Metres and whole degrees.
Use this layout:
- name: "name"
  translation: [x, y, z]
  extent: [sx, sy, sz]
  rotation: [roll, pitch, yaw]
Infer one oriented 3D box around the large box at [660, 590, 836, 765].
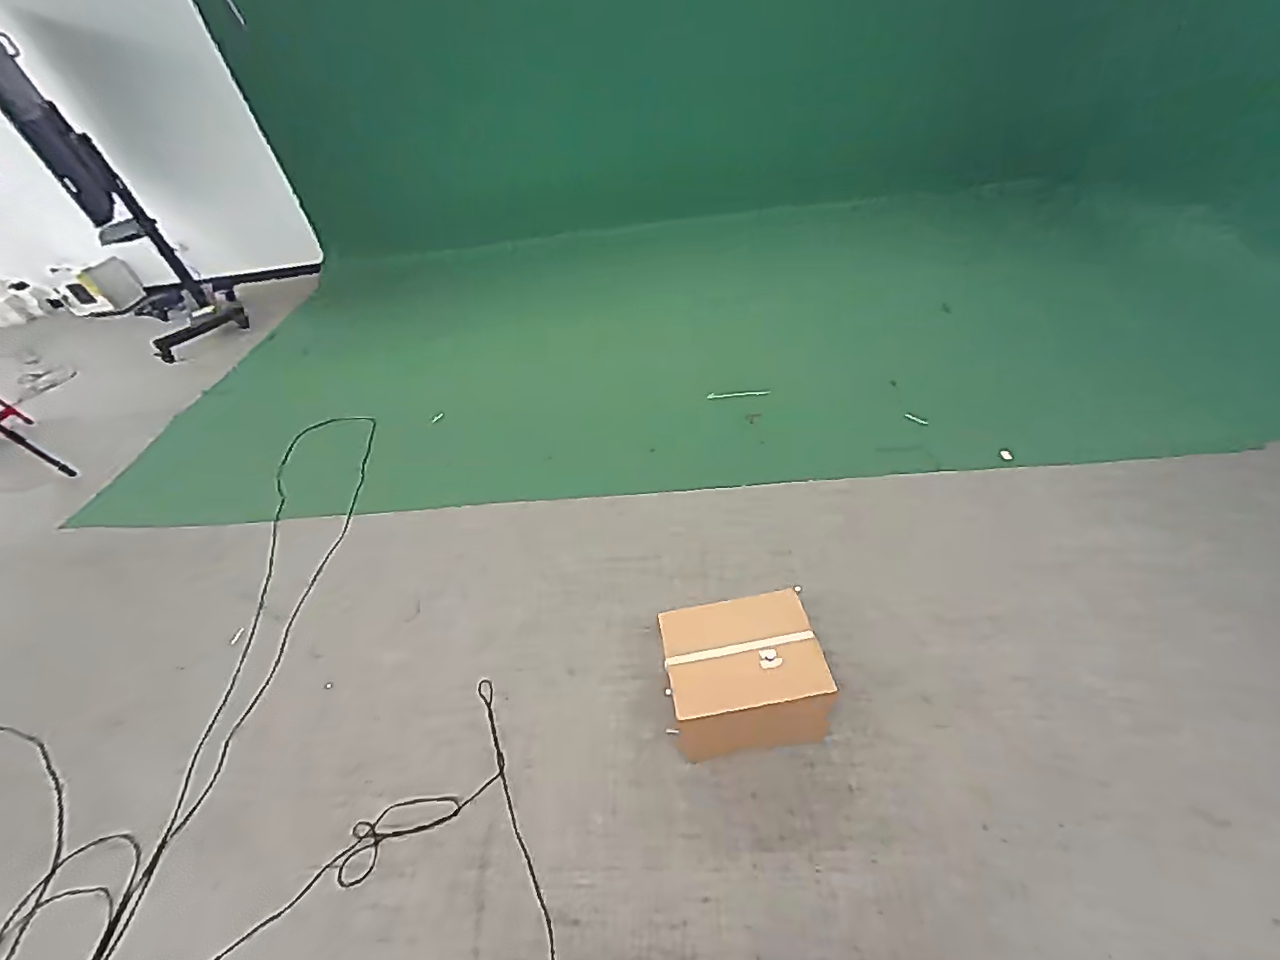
- name: "large box"
  translation: [0.289, 0.564, 1.539]
  extent: [0.408, 0.320, 0.320]
  rotation: [-10, 43, 0]
